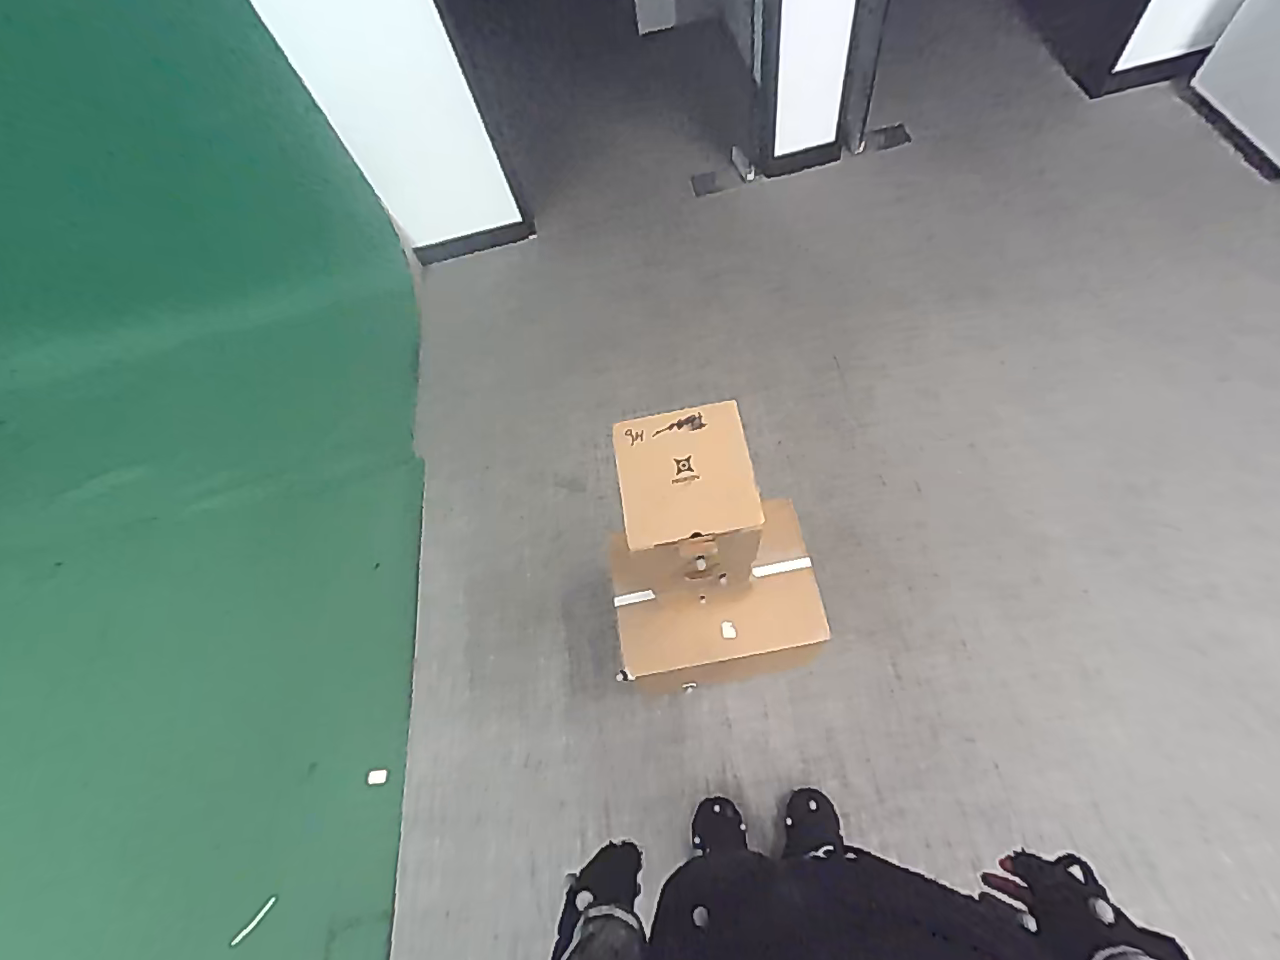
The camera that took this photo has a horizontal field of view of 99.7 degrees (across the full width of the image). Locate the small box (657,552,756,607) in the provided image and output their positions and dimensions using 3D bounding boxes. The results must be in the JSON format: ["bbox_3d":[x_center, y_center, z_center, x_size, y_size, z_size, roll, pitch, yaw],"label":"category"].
[{"bbox_3d":[0.114,0.141,1.046,0.179,0.176,0.168,-13,68,4],"label":"small box"}]

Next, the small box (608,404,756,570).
[{"bbox_3d":[0.061,0.022,0.748,0.168,0.176,0.179,-11,69,5],"label":"small box"}]

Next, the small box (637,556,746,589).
[{"bbox_3d":[0.080,0.078,0.901,0.168,0.176,0.179,-10,67,5],"label":"small box"}]
